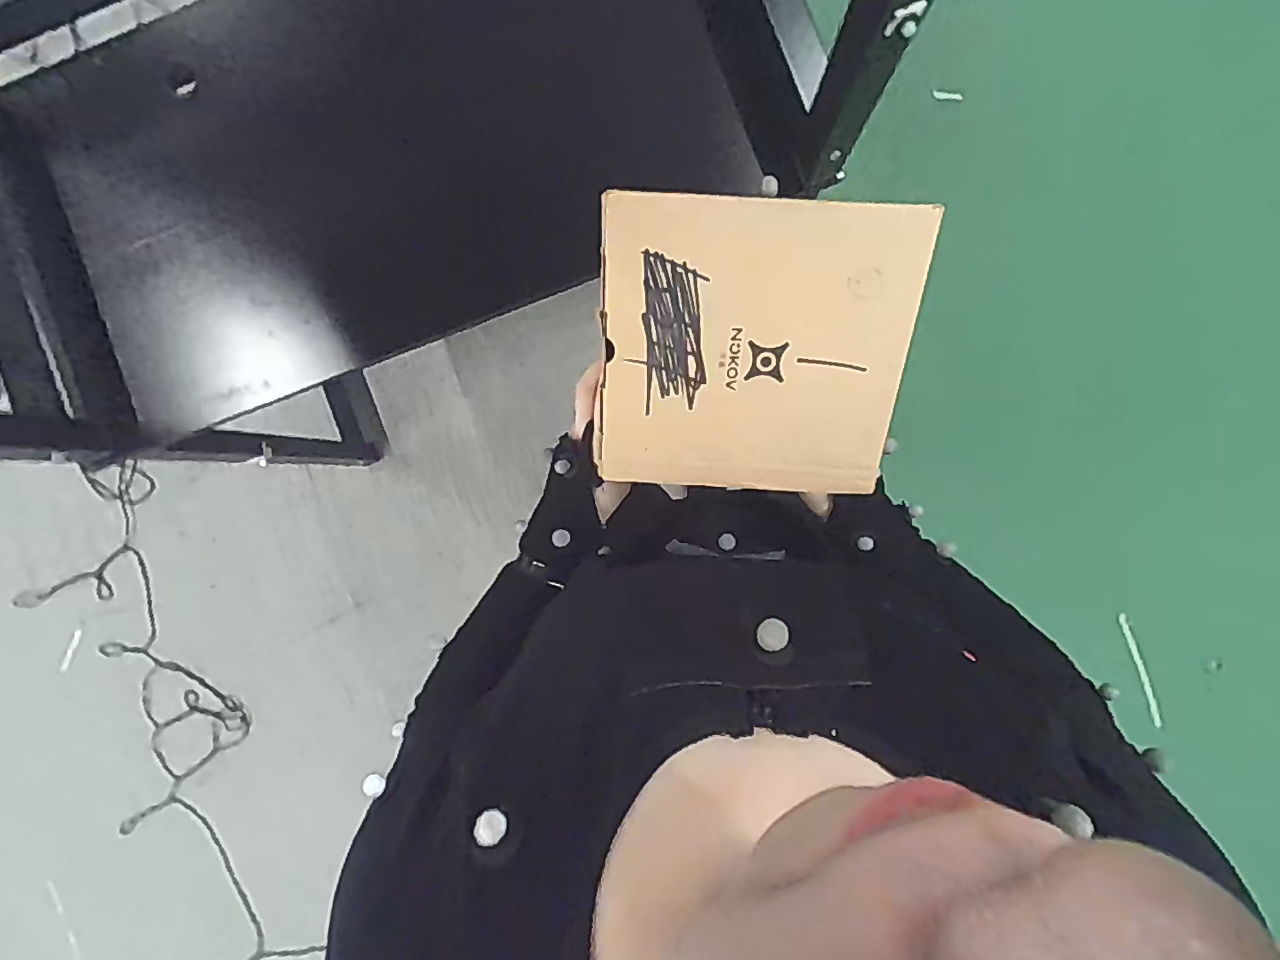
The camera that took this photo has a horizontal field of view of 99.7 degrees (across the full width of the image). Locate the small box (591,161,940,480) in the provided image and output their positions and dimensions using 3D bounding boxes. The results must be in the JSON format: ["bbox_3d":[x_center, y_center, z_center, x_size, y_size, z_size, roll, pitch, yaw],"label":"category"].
[{"bbox_3d":[0.067,-0.114,0.383,0.179,0.176,0.168,5,114,1],"label":"small box"}]
